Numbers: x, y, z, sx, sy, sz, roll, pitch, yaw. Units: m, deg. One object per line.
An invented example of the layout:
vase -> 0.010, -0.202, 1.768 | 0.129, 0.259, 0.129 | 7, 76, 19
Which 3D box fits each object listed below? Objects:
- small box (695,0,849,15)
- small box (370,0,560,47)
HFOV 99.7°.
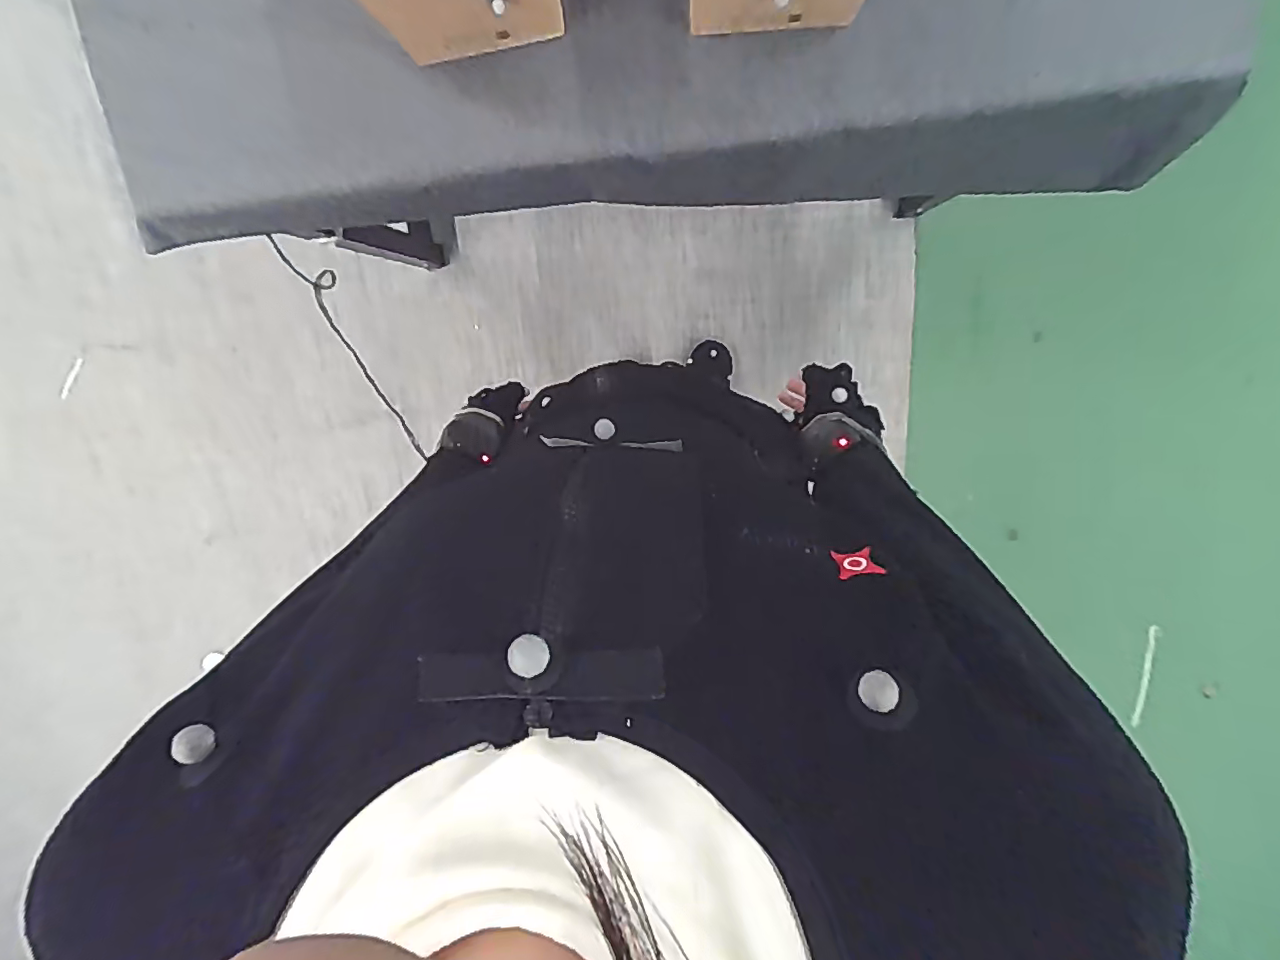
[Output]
small box -> 0.123, -0.533, 0.454 | 0.168, 0.176, 0.179 | -1, 106, 5
small box -> -0.178, -0.530, 0.484 | 0.168, 0.176, 0.179 | -8, 104, 6
